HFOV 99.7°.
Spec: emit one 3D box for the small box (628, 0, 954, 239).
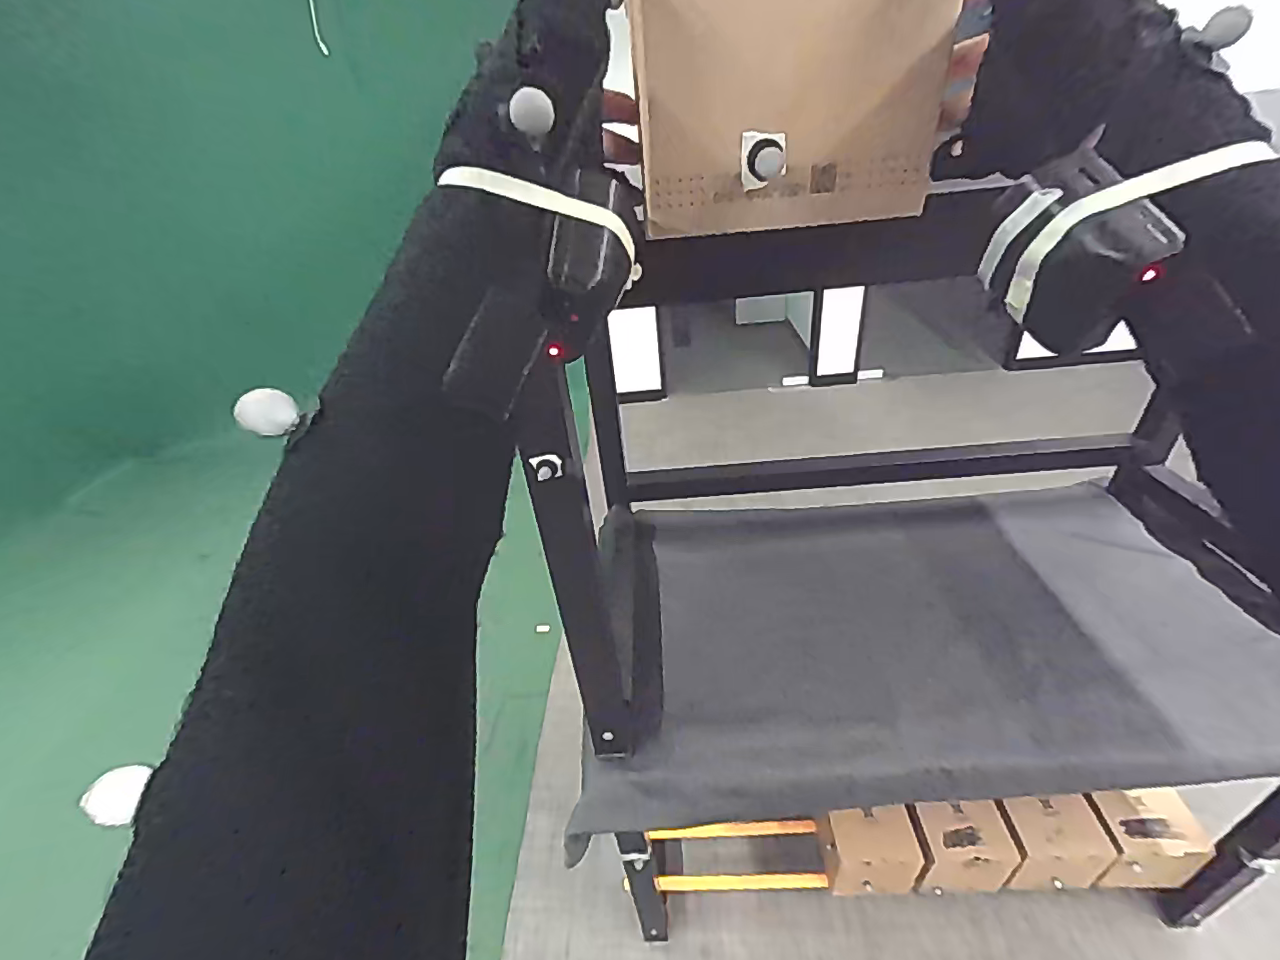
[{"bbox_3d":[0.078,-0.265,0.353,0.168,0.176,0.179,-6,35,3],"label":"small box"}]
